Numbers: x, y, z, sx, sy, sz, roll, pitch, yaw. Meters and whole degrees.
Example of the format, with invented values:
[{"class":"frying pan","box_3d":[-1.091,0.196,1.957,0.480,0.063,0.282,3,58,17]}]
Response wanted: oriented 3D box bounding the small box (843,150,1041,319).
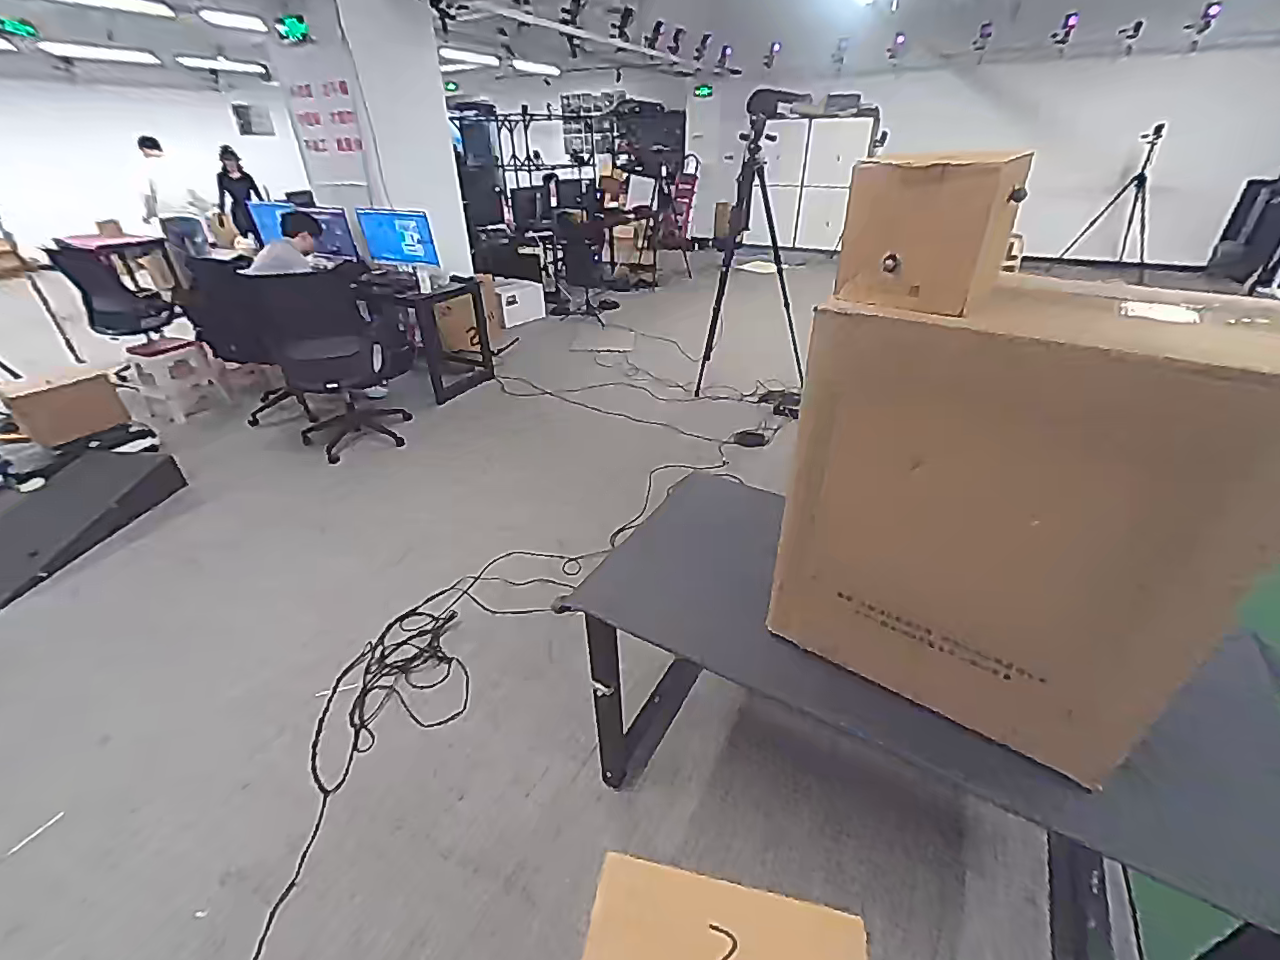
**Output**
[{"class":"small box","box_3d":[0.383,-0.325,0.704,0.168,0.176,0.179,24,43,33]}]
